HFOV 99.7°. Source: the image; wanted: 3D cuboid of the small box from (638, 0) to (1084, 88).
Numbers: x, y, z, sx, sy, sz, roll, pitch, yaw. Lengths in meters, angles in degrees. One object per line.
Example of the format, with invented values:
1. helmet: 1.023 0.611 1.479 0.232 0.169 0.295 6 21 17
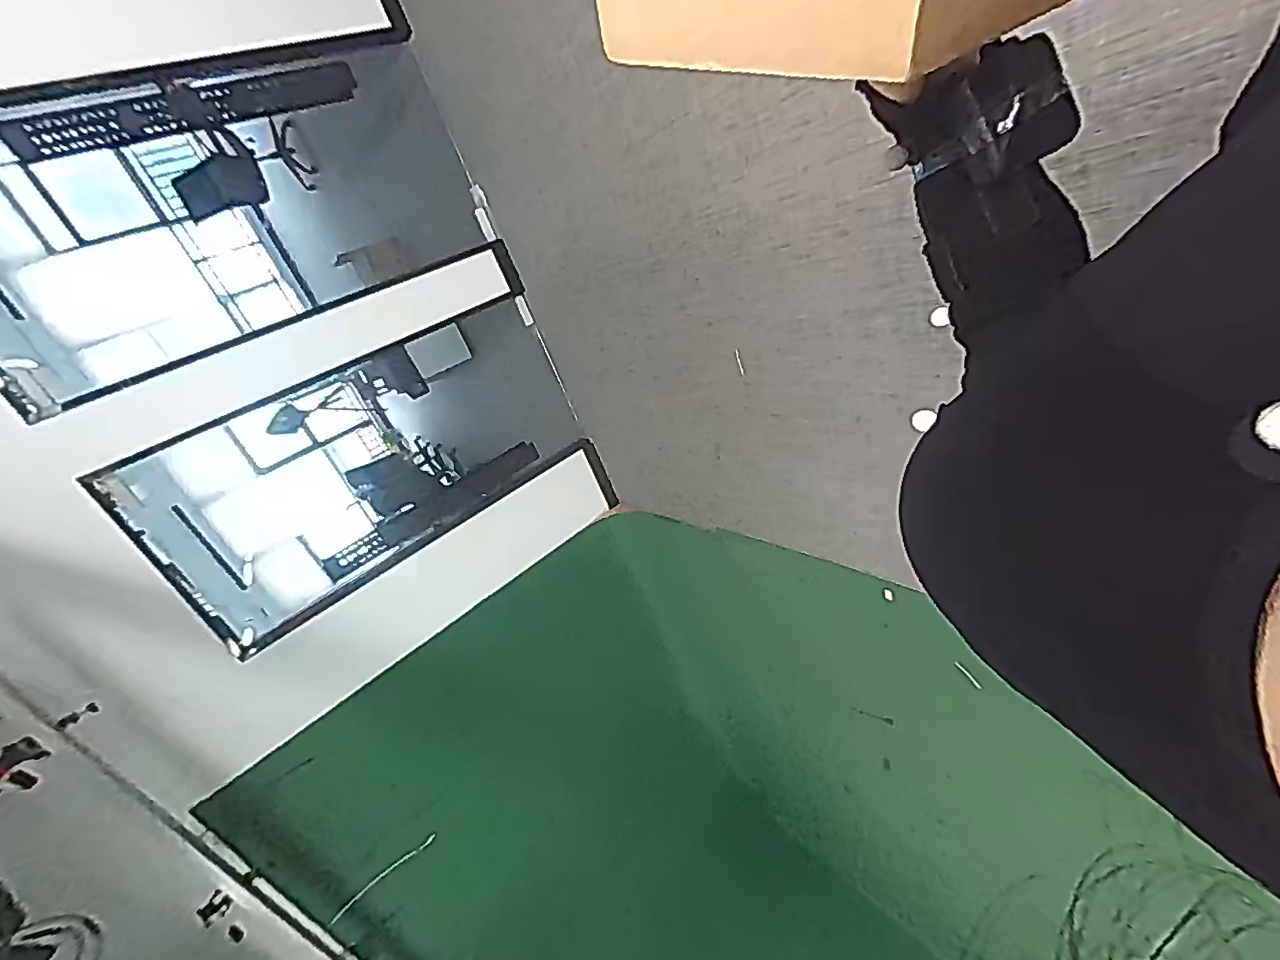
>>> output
1. small box: 0.106 -0.277 0.206 0.179 0.176 0.168 40 156 38
